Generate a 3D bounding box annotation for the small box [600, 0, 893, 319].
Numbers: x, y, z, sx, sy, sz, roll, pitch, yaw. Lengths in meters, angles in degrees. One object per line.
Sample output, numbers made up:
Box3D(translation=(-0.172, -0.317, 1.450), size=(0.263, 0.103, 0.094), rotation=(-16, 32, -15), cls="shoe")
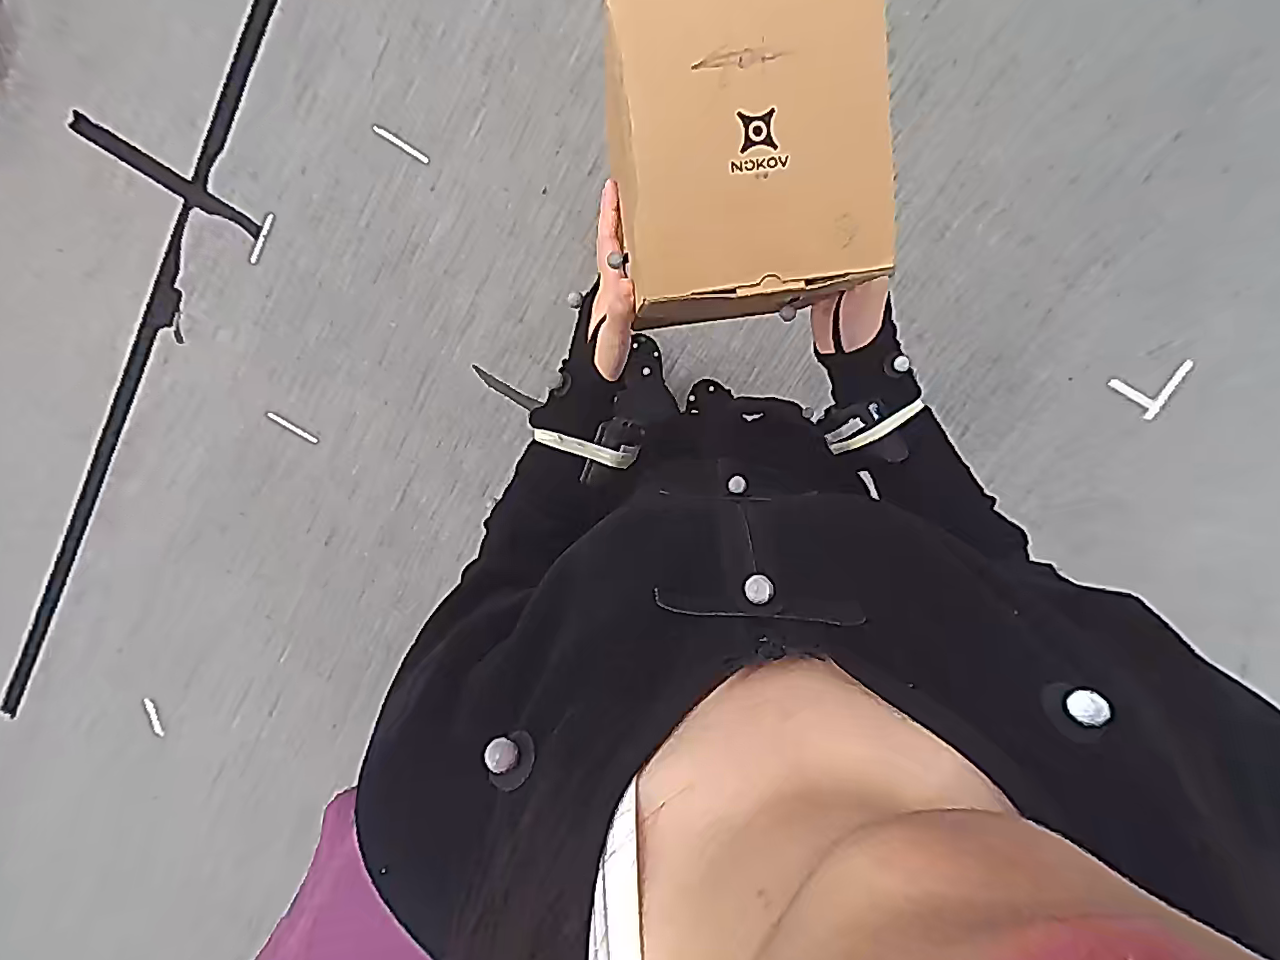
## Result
Box3D(translation=(0.064, -0.221, 0.401), size=(0.168, 0.176, 0.179), rotation=(-8, 100, -3), cls="small box")
